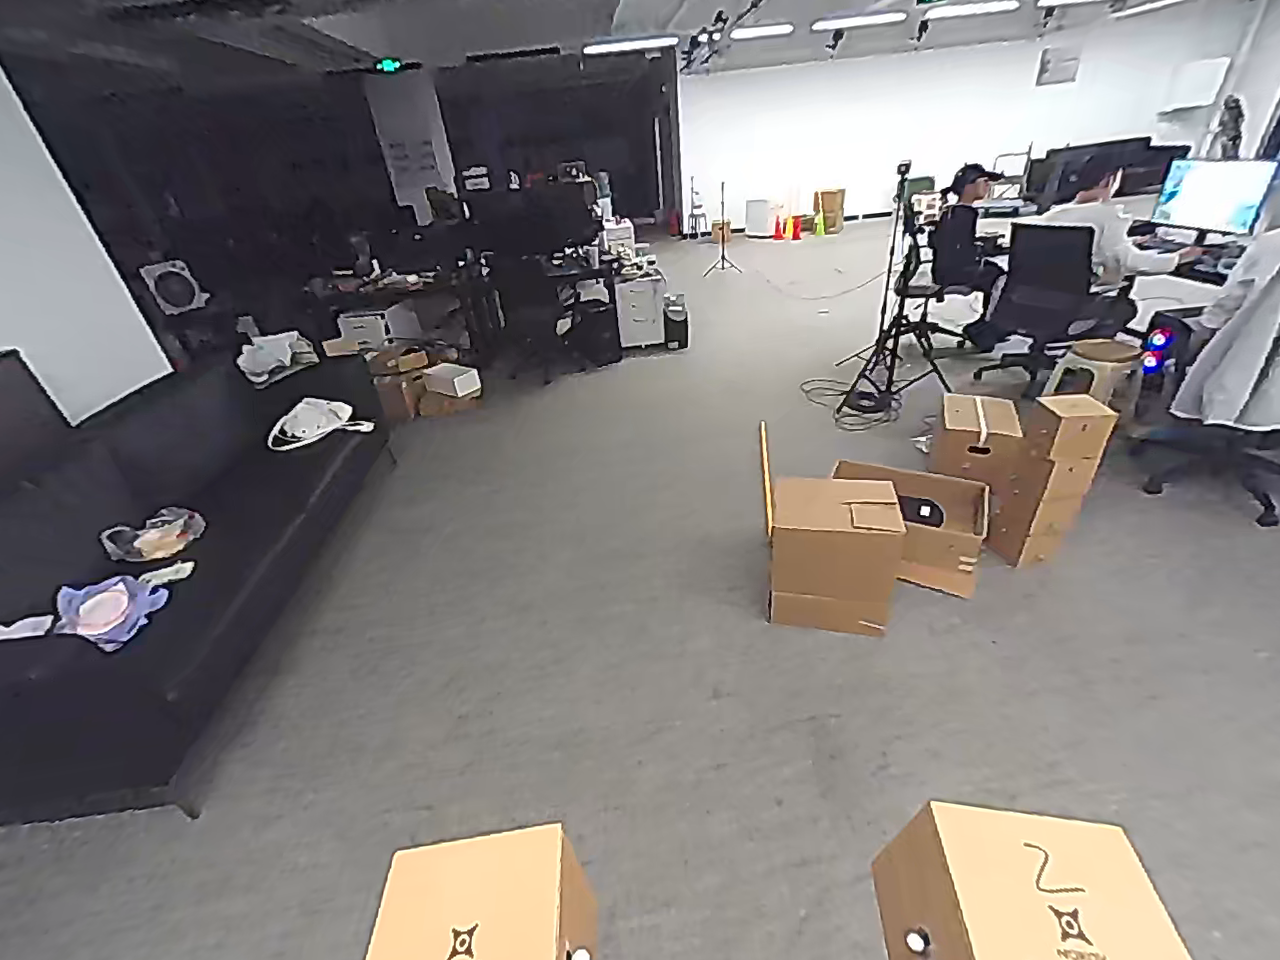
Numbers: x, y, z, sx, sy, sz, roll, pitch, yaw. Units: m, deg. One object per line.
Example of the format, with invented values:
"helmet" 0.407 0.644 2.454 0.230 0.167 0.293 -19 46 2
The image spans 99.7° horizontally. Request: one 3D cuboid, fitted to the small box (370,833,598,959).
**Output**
"small box" -0.132 0.459 0.483 0.168 0.176 0.179 -10 33 1
